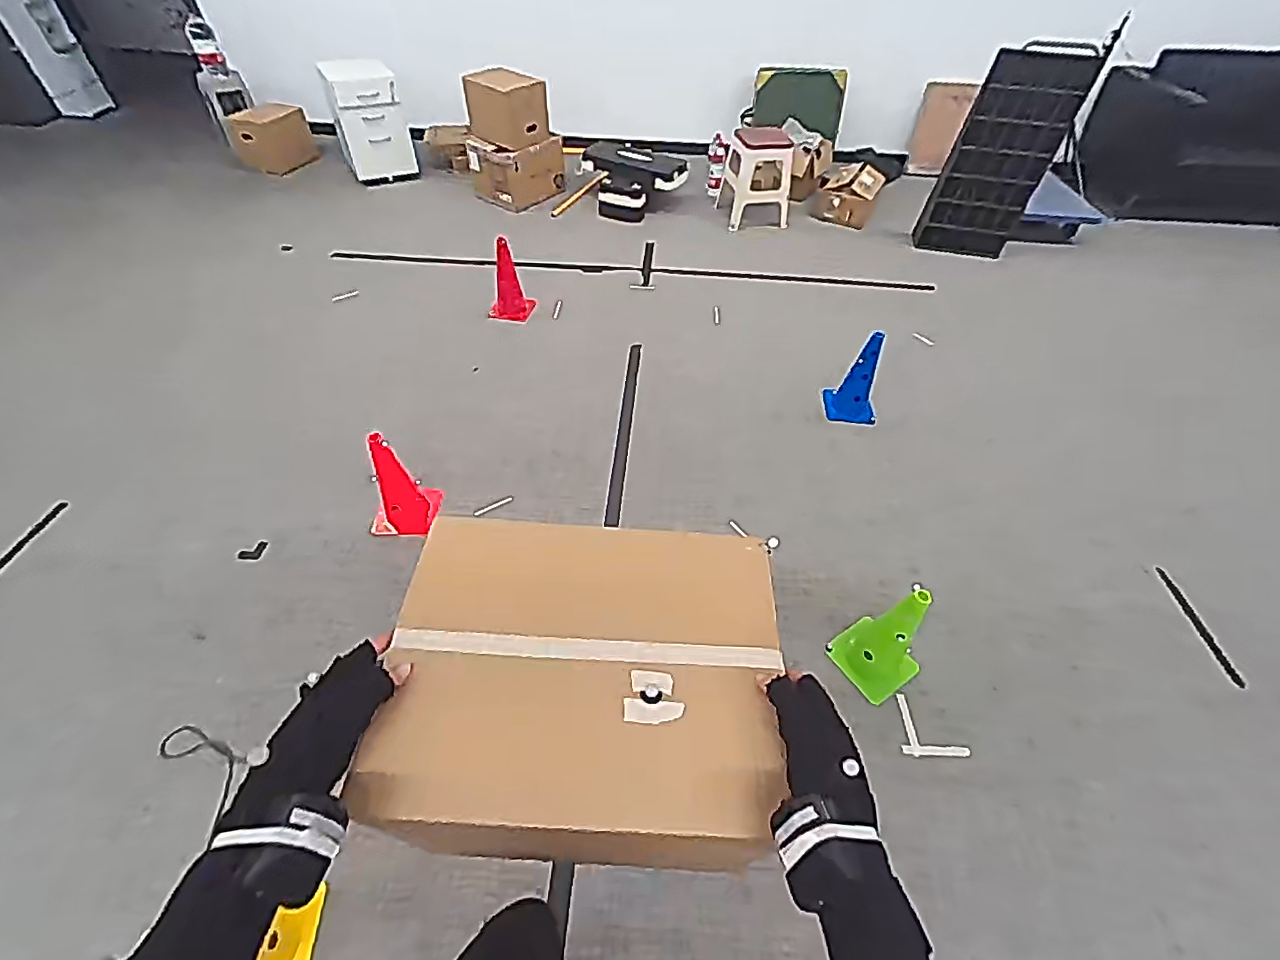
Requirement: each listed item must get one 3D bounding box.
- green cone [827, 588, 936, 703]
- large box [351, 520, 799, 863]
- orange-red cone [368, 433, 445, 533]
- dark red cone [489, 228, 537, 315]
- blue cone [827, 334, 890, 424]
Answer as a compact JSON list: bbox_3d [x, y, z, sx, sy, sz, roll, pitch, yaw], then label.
[{"bbox_3d":[0.674,0.397,1.417,0.202,0.368,0.200,-25,55,-24],"label":"green cone"},{"bbox_3d":[-0.062,0.274,0.681,0.408,0.320,0.320,5,50,-1],"label":"large box"},{"bbox_3d":[-0.778,-0.010,1.715,0.198,0.360,0.199,2,50,0],"label":"orange-red cone"},{"bbox_3d":[-0.617,-0.988,2.557,0.201,0.394,0.202,9,49,4],"label":"dark red cone"},{"bbox_3d":[0.904,-0.415,2.171,0.192,0.380,0.193,7,49,2],"label":"blue cone"}]
